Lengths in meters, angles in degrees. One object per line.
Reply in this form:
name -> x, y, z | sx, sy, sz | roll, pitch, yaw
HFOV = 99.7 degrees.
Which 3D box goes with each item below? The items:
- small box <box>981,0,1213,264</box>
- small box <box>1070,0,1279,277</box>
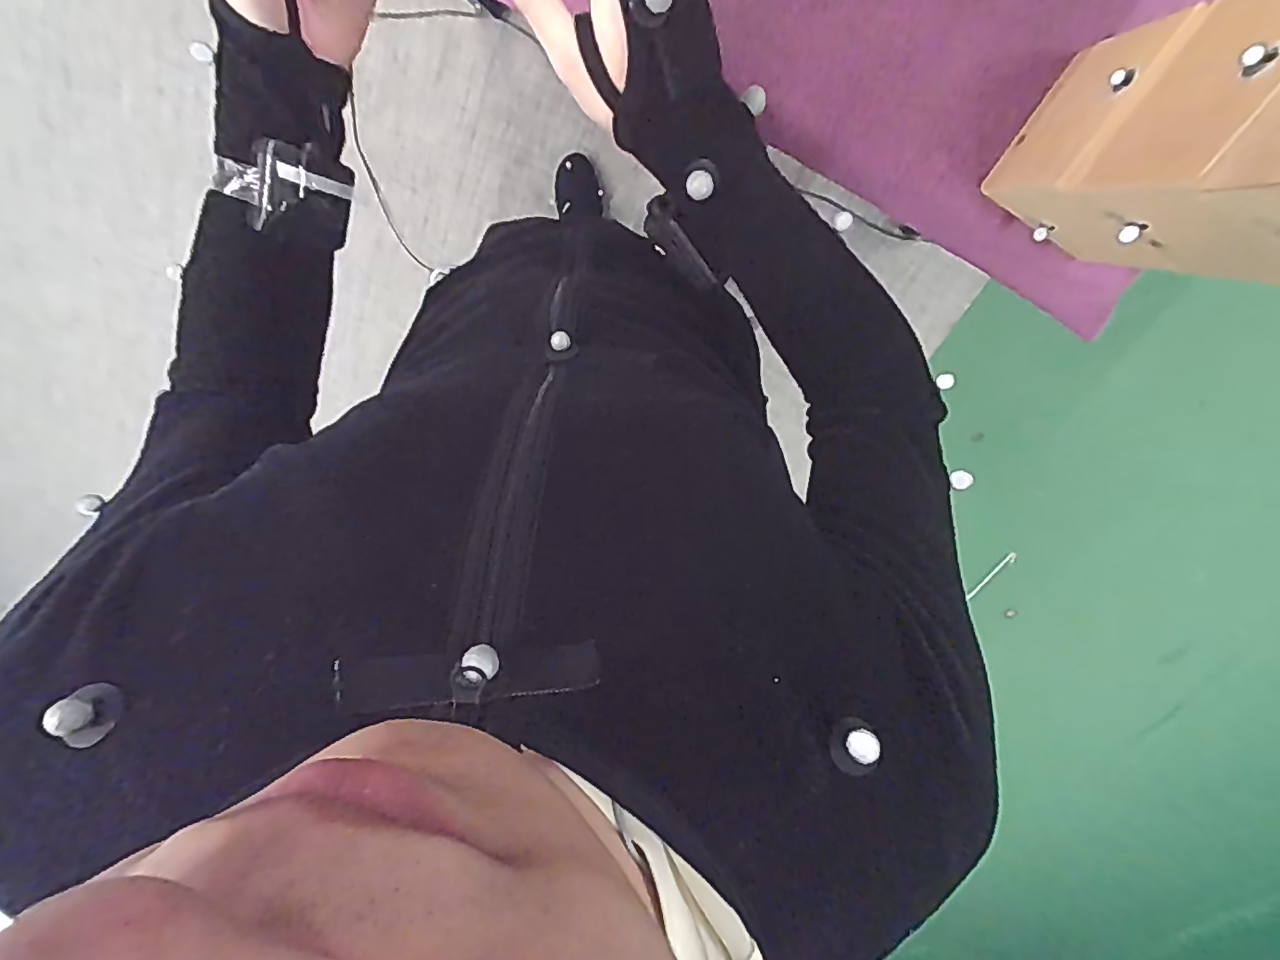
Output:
small box -> 0.537, -0.368, 0.600 | 0.179, 0.176, 0.168 | 27, 115, -10
small box -> 0.531, -0.295, 0.454 | 0.168, 0.176, 0.179 | 28, 116, -8
